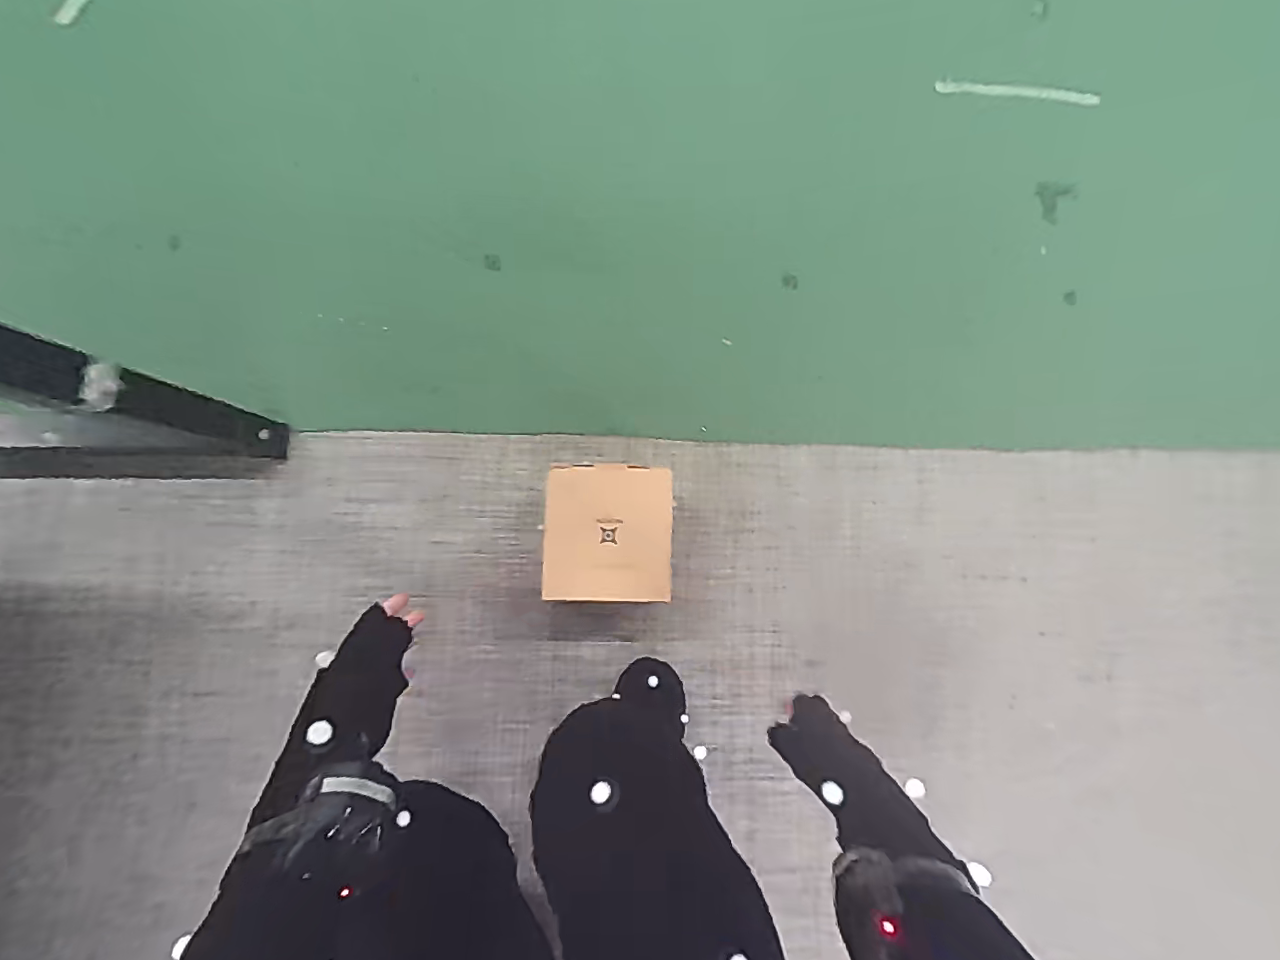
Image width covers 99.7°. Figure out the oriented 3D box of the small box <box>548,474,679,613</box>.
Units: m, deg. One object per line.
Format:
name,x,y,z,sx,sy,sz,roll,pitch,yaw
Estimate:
small box,-0.037,0.091,0.778,0.168,0.176,0.179,2,84,-2
